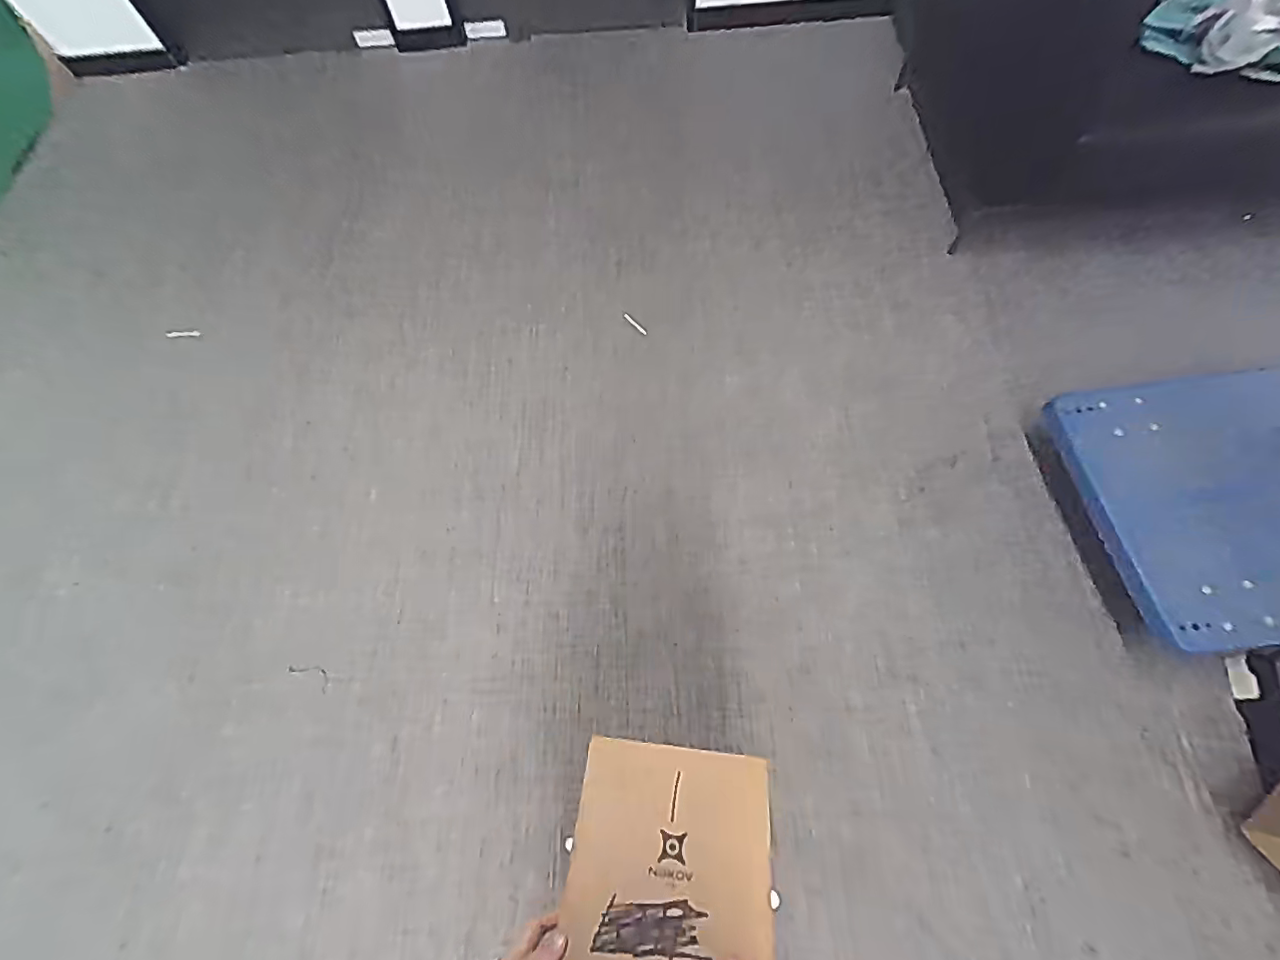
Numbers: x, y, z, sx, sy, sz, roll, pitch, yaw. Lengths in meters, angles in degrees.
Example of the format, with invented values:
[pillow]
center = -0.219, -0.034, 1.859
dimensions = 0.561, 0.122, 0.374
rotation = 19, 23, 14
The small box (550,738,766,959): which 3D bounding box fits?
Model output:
[small box]
center = 0.023, 0.369, 0.508
dimensions = 0.168, 0.176, 0.179
rotation = 5, 48, 5
